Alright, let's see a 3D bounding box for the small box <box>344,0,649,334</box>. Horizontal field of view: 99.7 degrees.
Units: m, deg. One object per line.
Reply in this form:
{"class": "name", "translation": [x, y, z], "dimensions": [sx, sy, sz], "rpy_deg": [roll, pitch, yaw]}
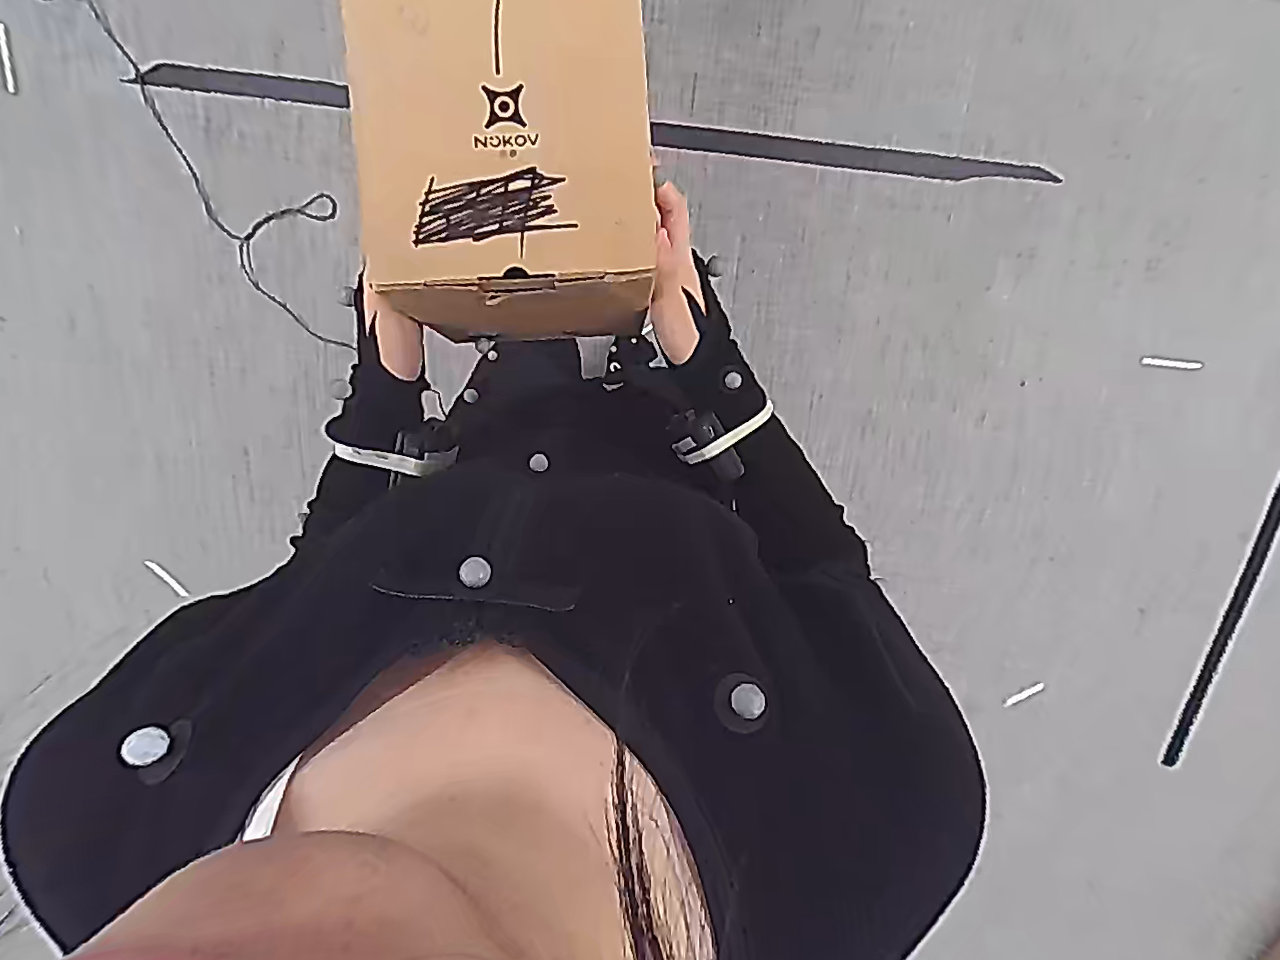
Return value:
{"class": "small box", "translation": [-0.082, -0.206, 0.386], "dimensions": [0.168, 0.176, 0.179], "rpy_deg": [-4, 93, -3]}
